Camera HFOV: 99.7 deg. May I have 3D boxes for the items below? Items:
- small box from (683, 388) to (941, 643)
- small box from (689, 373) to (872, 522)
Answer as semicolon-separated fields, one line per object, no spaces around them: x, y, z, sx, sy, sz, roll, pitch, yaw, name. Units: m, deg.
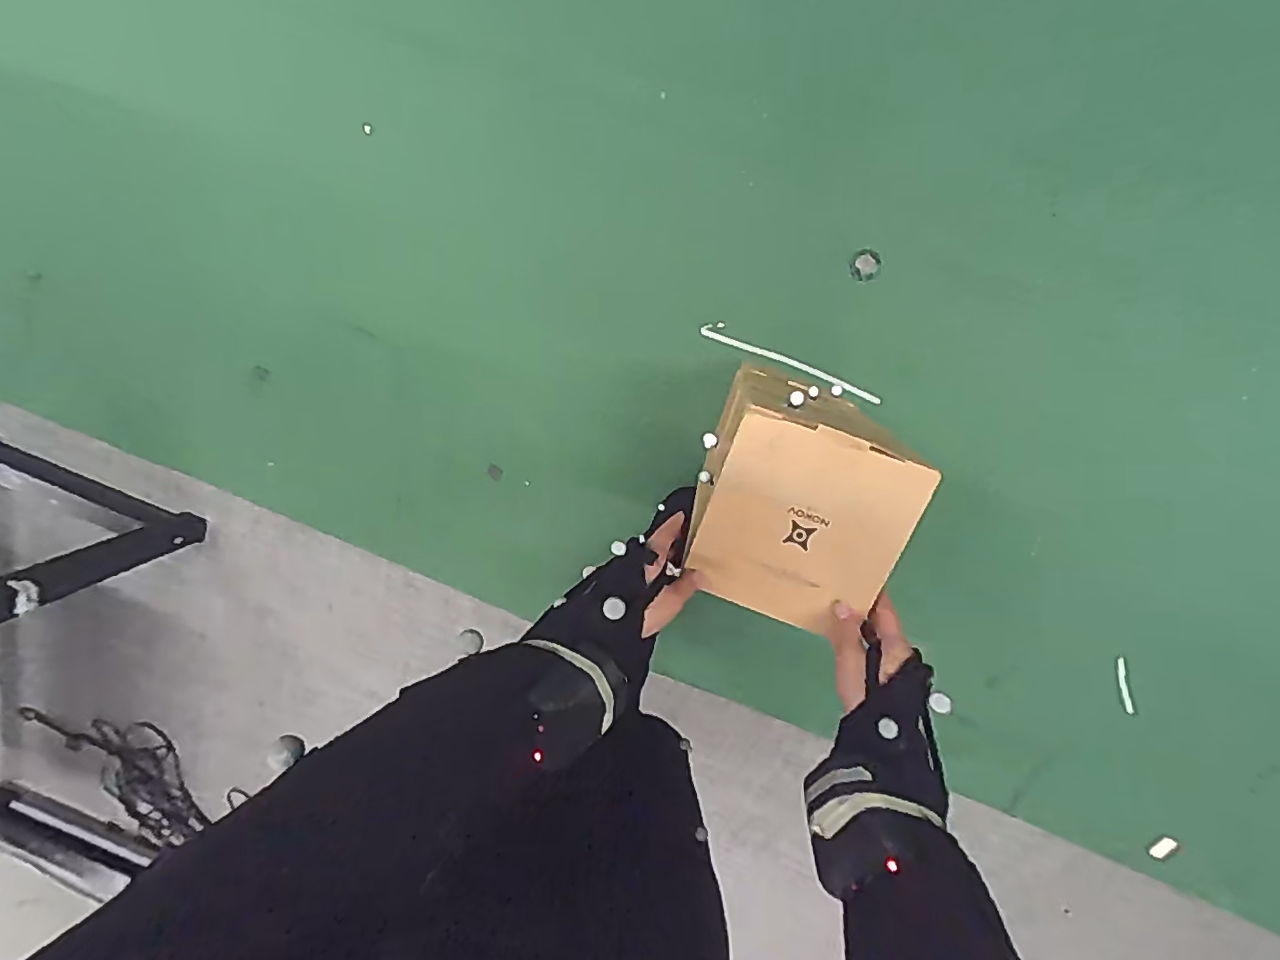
0.152;0.020;0.537;0.168;0.176;0.179;20;109;4;small box
0.174;-0.024;0.693;0.168;0.176;0.179;19;108;3;small box
